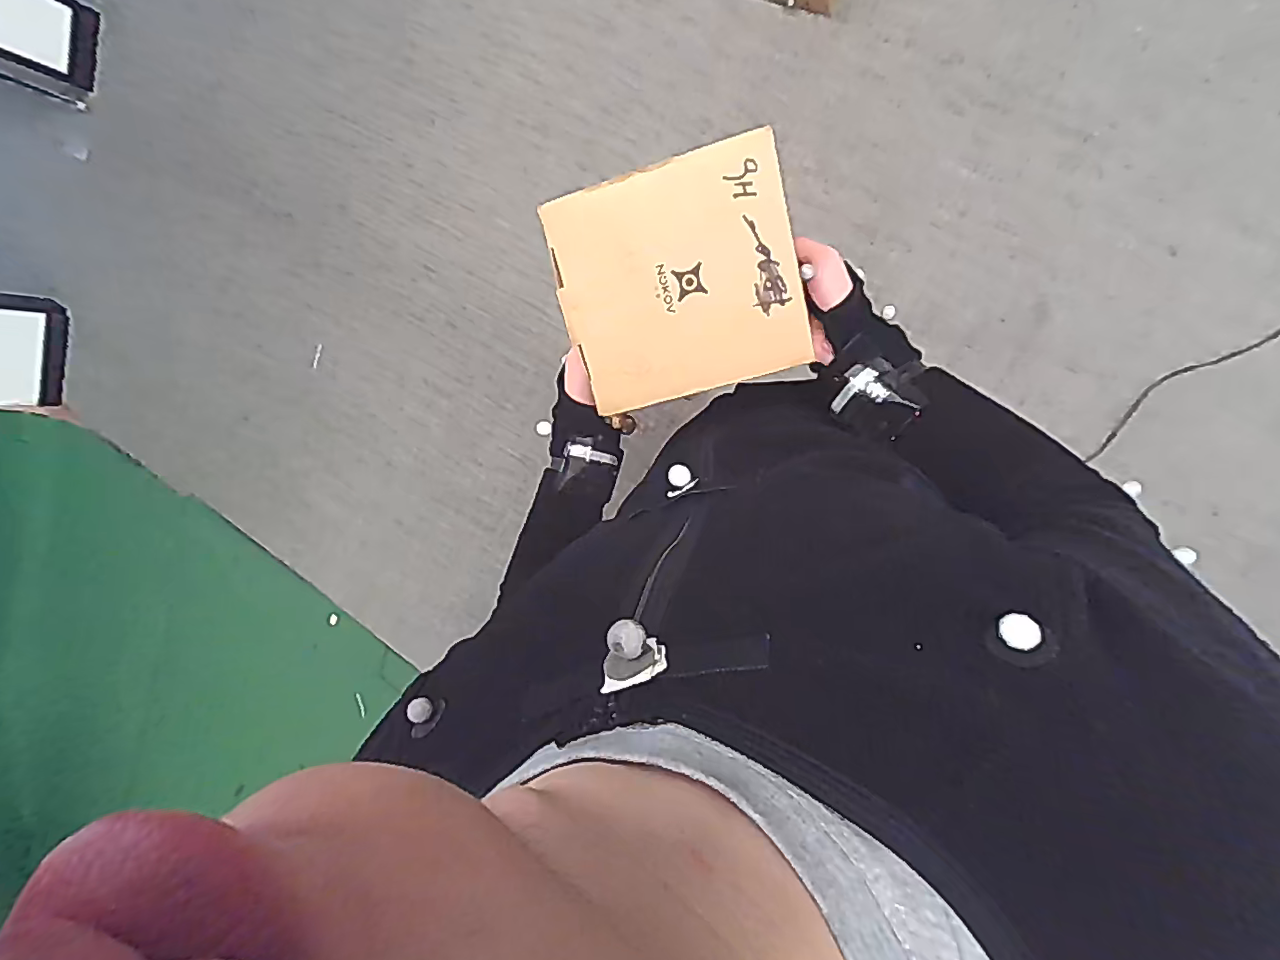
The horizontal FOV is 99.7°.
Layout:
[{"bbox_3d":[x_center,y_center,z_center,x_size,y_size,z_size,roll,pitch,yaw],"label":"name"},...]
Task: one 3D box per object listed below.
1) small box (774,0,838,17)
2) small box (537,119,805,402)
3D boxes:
[{"bbox_3d":[0.389,-1.199,1.206,0.168,0.176,0.179,28,109,15],"label":"small box"},{"bbox_3d":[0.036,-0.178,0.482,0.179,0.176,0.168,-13,105,12],"label":"small box"}]
